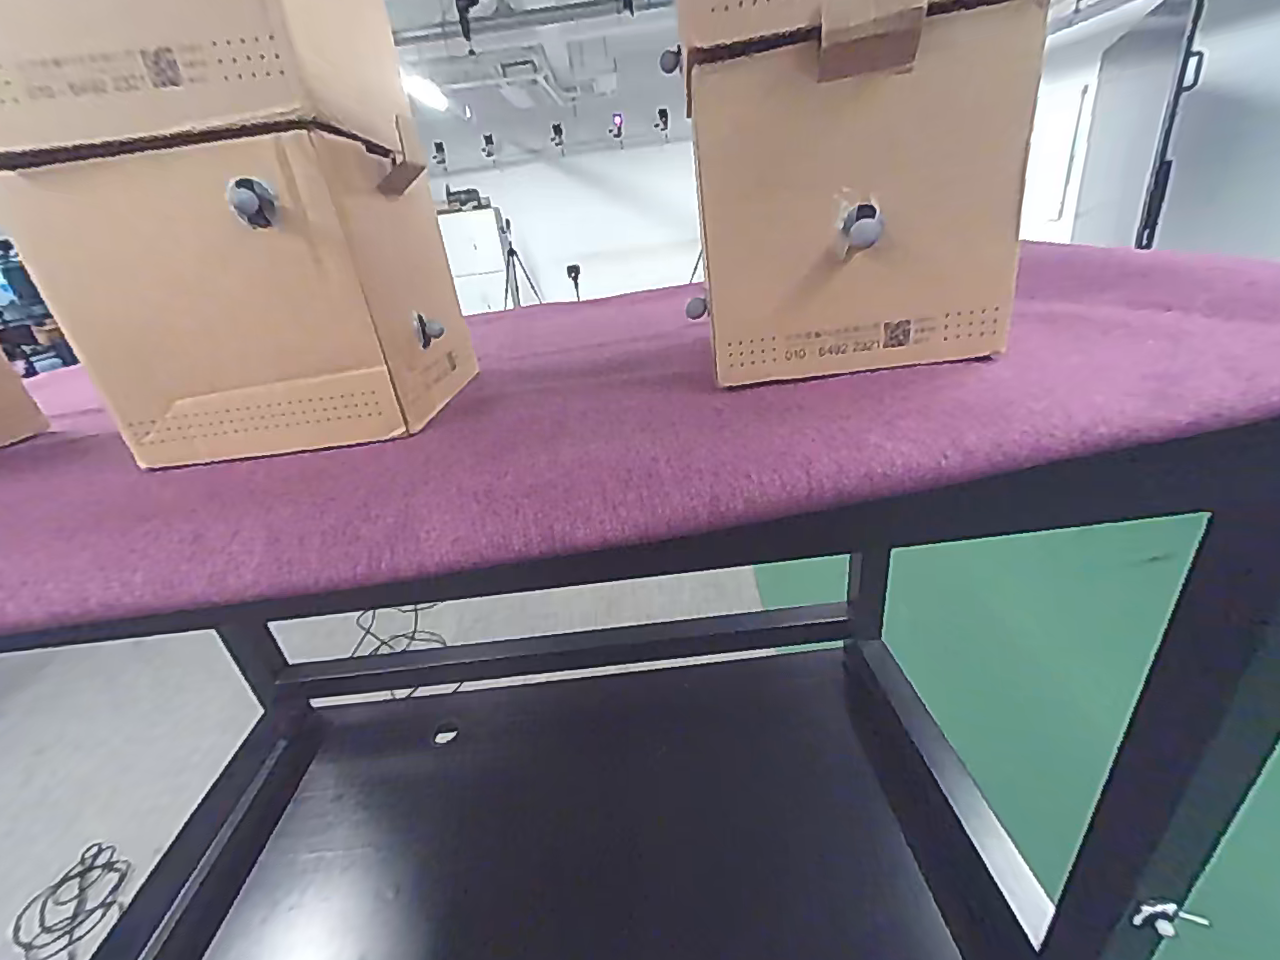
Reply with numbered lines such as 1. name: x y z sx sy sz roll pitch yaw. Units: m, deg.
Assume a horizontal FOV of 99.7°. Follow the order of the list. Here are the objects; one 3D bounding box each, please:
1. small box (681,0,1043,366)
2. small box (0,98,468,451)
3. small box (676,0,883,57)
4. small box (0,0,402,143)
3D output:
1. small box: 0.121 -0.177 0.352 0.168 0.176 0.179 -5 25 8
2. small box: -0.238 -0.126 0.361 0.179 0.176 0.168 -7 25 1
3. small box: 0.099 -0.321 0.275 0.179 0.176 0.168 -5 24 7
4. small box: -0.251 -0.272 0.290 0.168 0.176 0.179 -6 24 -1
